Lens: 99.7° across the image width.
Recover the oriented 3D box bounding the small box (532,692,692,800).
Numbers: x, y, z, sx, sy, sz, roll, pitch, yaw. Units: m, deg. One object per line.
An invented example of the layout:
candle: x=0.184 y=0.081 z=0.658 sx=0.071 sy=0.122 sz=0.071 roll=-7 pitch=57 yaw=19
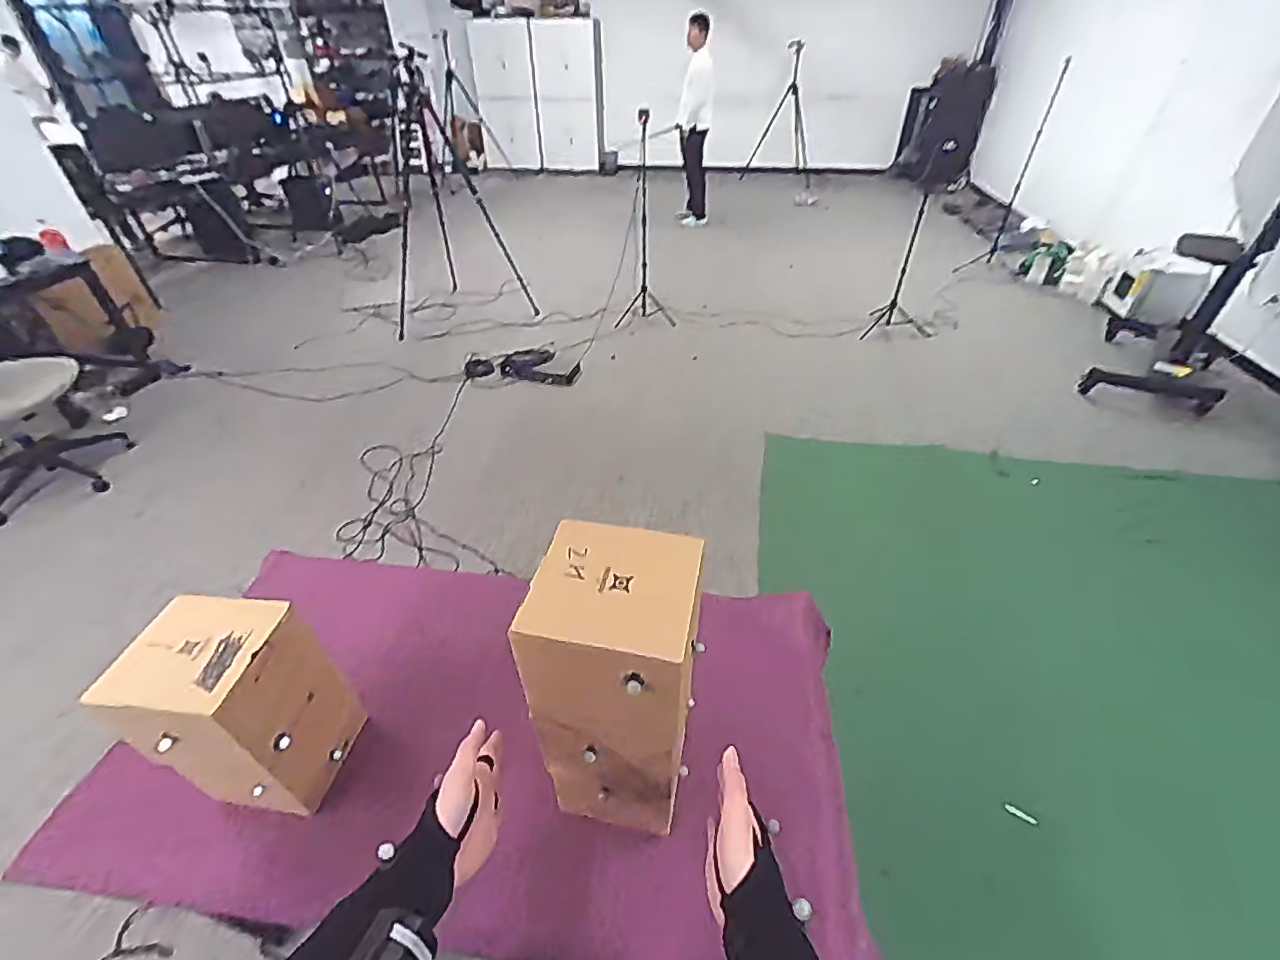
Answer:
small box: x=-0.026 y=0.301 z=0.729 sx=0.179 sy=0.176 sz=0.168 roll=8 pitch=41 yaw=10

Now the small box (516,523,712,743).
small box: x=-0.020 y=0.175 z=0.621 sx=0.179 sy=0.176 sz=0.168 roll=7 pitch=39 yaw=10

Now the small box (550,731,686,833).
small box: x=-0.023 y=0.420 z=0.841 sx=0.179 sy=0.176 sz=0.168 roll=7 pitch=40 yaw=10

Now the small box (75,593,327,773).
small box: x=-0.573 y=0.279 z=0.741 sx=0.179 sy=0.176 sz=0.168 roll=4 pitch=39 yaw=4
